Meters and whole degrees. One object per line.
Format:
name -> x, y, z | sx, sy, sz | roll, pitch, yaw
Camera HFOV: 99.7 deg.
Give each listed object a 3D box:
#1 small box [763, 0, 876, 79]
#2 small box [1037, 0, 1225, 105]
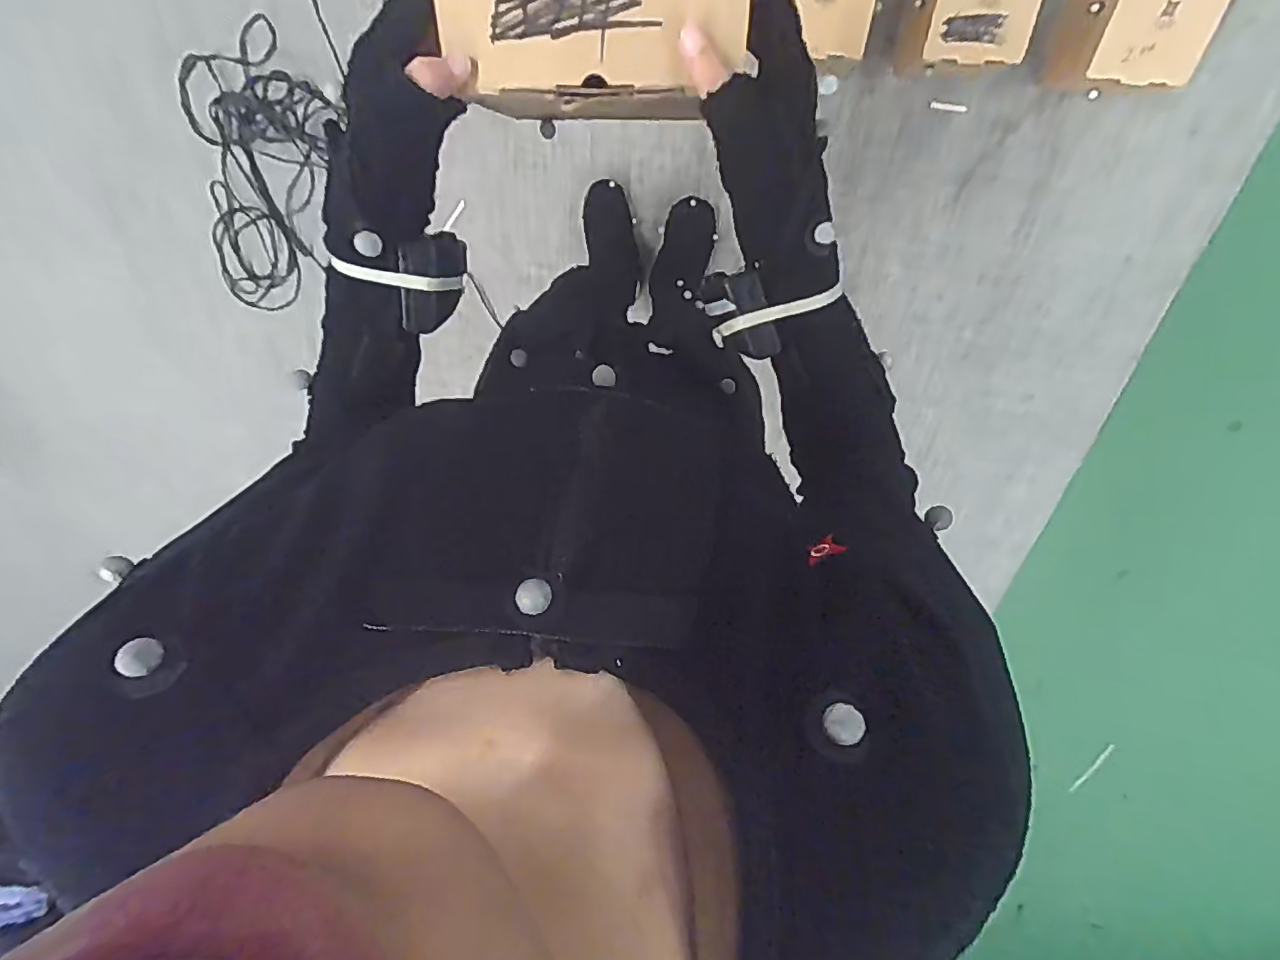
small box -> 0.322, -0.849, 0.975 | 0.168, 0.176, 0.179 | 9, 122, 3
small box -> 0.847, -0.775, 0.945 | 0.168, 0.176, 0.179 | 9, 123, 3
